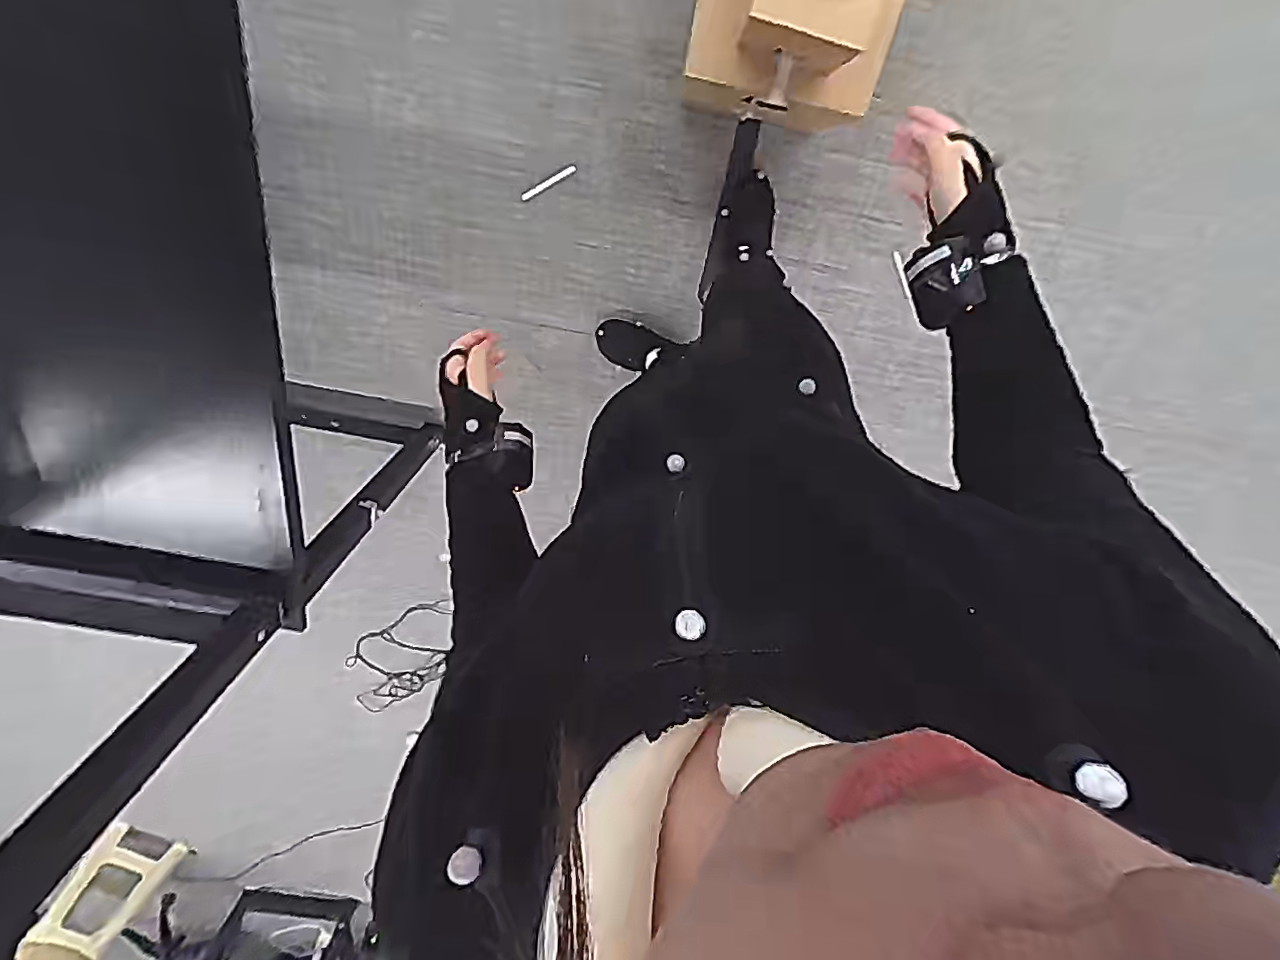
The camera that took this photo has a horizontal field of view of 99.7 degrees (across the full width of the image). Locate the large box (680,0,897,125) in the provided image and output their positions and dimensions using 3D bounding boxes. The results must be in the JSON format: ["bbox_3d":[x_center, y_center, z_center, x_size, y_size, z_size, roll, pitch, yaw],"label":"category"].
[{"bbox_3d":[0.258,-0.880,0.921,0.320,0.320,0.408,10,118,-5],"label":"large box"}]

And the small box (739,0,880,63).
[{"bbox_3d":[0.243,-0.709,0.736,0.168,0.176,0.179,14,119,-5],"label":"small box"}]
